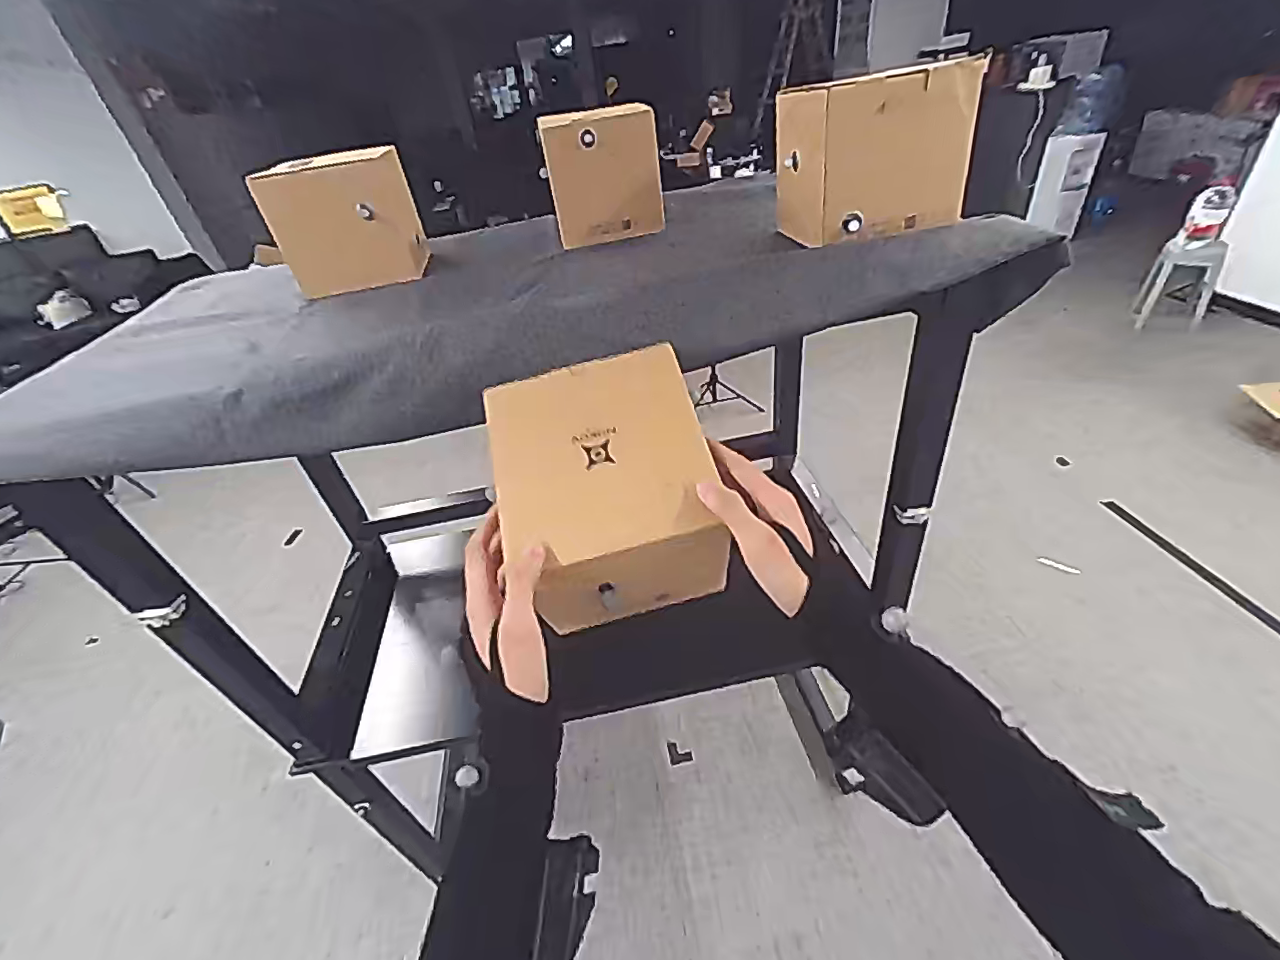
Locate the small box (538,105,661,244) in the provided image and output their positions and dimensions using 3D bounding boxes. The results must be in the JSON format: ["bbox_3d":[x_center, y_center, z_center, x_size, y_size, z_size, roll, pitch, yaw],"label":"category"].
[{"bbox_3d":[-0.067,-0.498,0.883,0.168,0.176,0.179,-12,36,-3],"label":"small box"}]

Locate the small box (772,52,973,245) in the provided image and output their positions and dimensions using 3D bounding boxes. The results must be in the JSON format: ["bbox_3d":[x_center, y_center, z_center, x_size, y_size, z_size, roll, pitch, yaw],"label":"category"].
[{"bbox_3d":[0.270,-0.400,0.669,0.168,0.176,0.179,-10,33,0],"label":"small box"}]

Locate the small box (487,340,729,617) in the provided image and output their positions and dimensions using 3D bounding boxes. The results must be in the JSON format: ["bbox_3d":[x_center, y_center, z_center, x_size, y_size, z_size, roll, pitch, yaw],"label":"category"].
[{"bbox_3d":[-0.024,0.011,0.488,0.168,0.176,0.179,-15,59,-2],"label":"small box"}]
